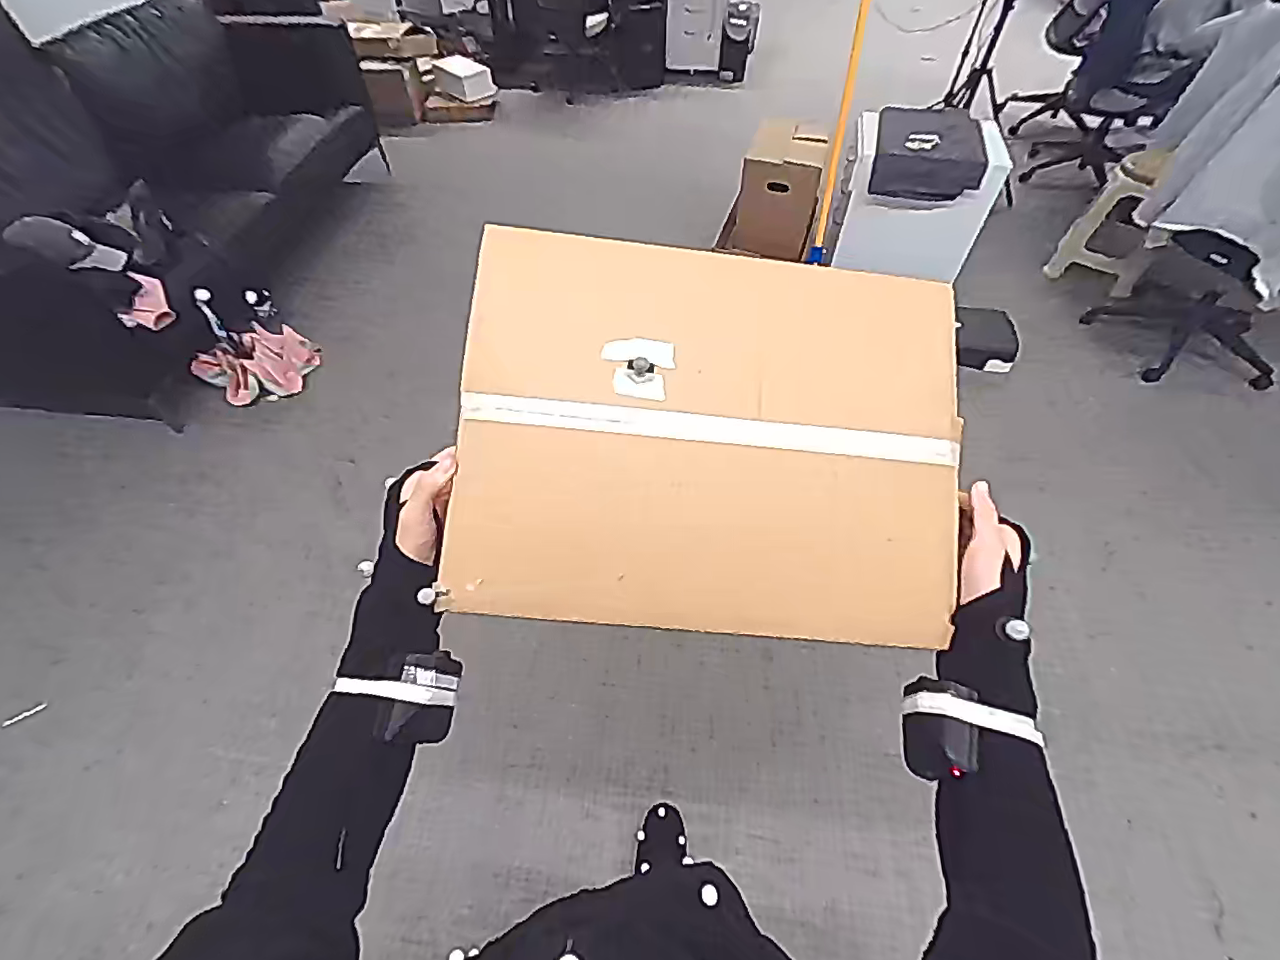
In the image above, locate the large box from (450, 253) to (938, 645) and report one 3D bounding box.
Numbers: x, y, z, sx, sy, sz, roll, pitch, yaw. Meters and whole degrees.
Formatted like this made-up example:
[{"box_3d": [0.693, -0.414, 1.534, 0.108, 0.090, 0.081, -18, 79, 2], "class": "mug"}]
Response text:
[{"box_3d": [0.049, -0.012, 0.601, 0.408, 0.320, 0.320, 5, 82, -3], "class": "large box"}]
